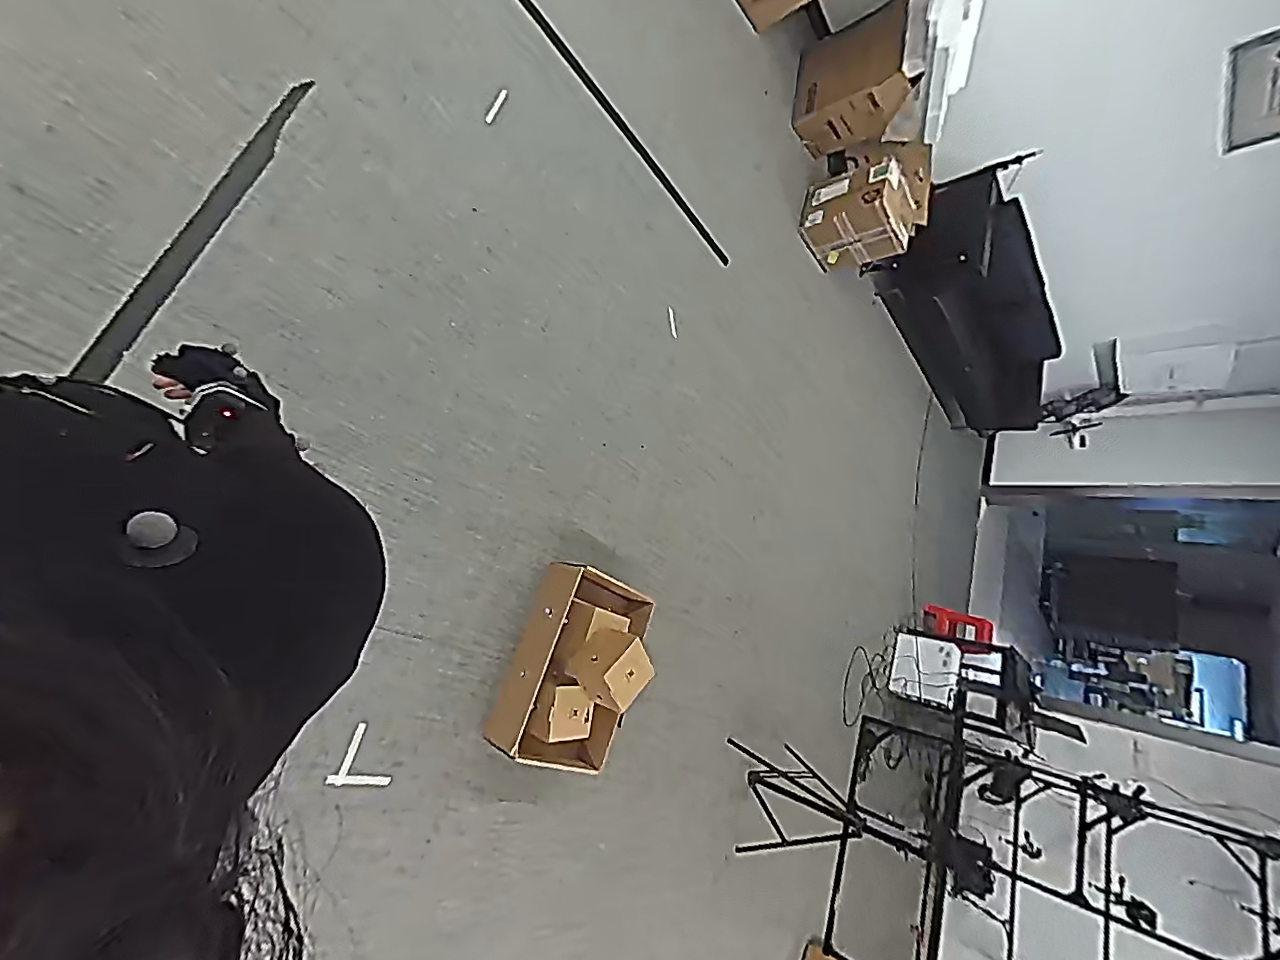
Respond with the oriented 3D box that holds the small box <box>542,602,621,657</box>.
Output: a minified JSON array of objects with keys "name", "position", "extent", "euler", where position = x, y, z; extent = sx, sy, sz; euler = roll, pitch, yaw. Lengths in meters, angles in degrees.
[{"name":"small box","position":[-0.202,0.531,1.860],"extent":[0.179,0.176,0.168],"euler":[34,67,-41]}]

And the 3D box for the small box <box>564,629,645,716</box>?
[{"name":"small box","position":[-0.118,0.603,1.713],"extent":[0.179,0.176,0.168],"euler":[-42,121,-40]}]
